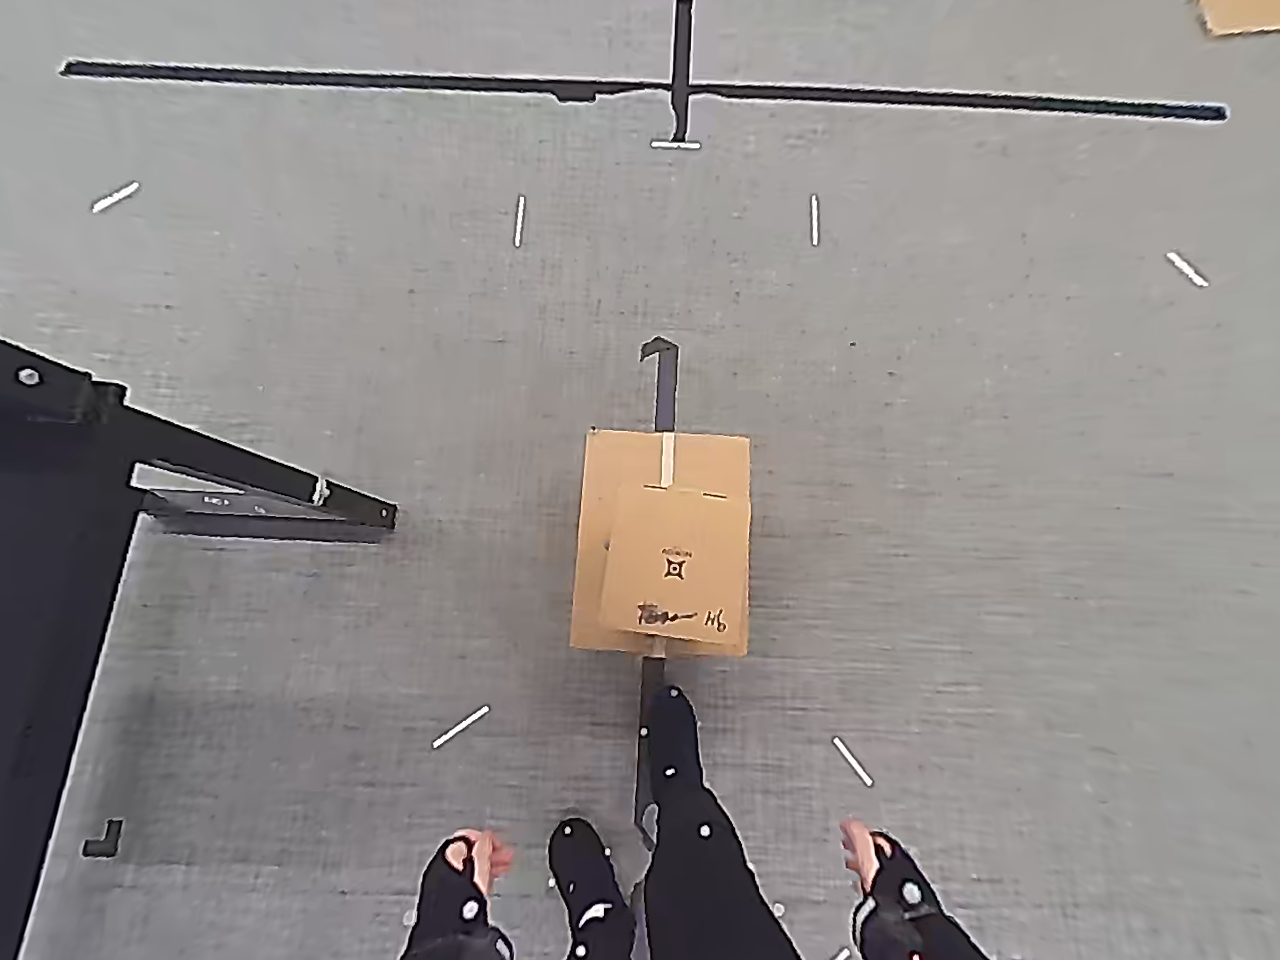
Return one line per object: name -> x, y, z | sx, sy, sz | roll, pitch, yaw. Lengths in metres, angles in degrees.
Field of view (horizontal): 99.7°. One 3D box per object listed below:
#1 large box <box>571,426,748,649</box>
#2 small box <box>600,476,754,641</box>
large box -> 0.039, 0.132, 1.126 | 0.320, 0.320, 0.408 | 3, 77, -1
small box -> 0.045, 0.108, 0.713 | 0.168, 0.176, 0.179 | 8, 77, 2
